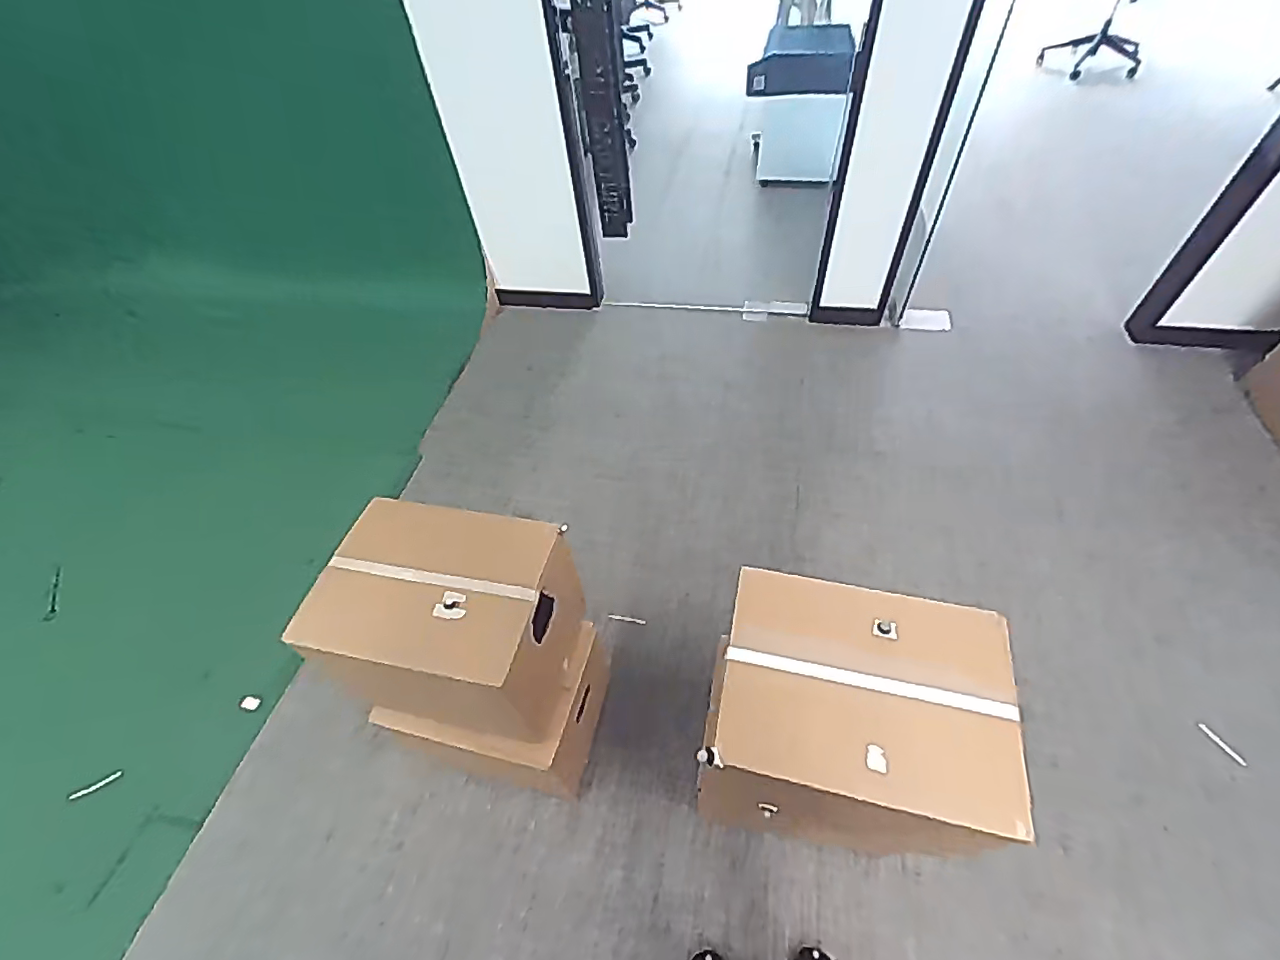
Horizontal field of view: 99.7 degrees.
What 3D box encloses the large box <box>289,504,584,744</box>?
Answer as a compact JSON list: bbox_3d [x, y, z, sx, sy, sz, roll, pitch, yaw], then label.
[{"bbox_3d":[-0.359,0.283,1.073,0.408,0.320,0.320,8,50,10],"label":"large box"}]
